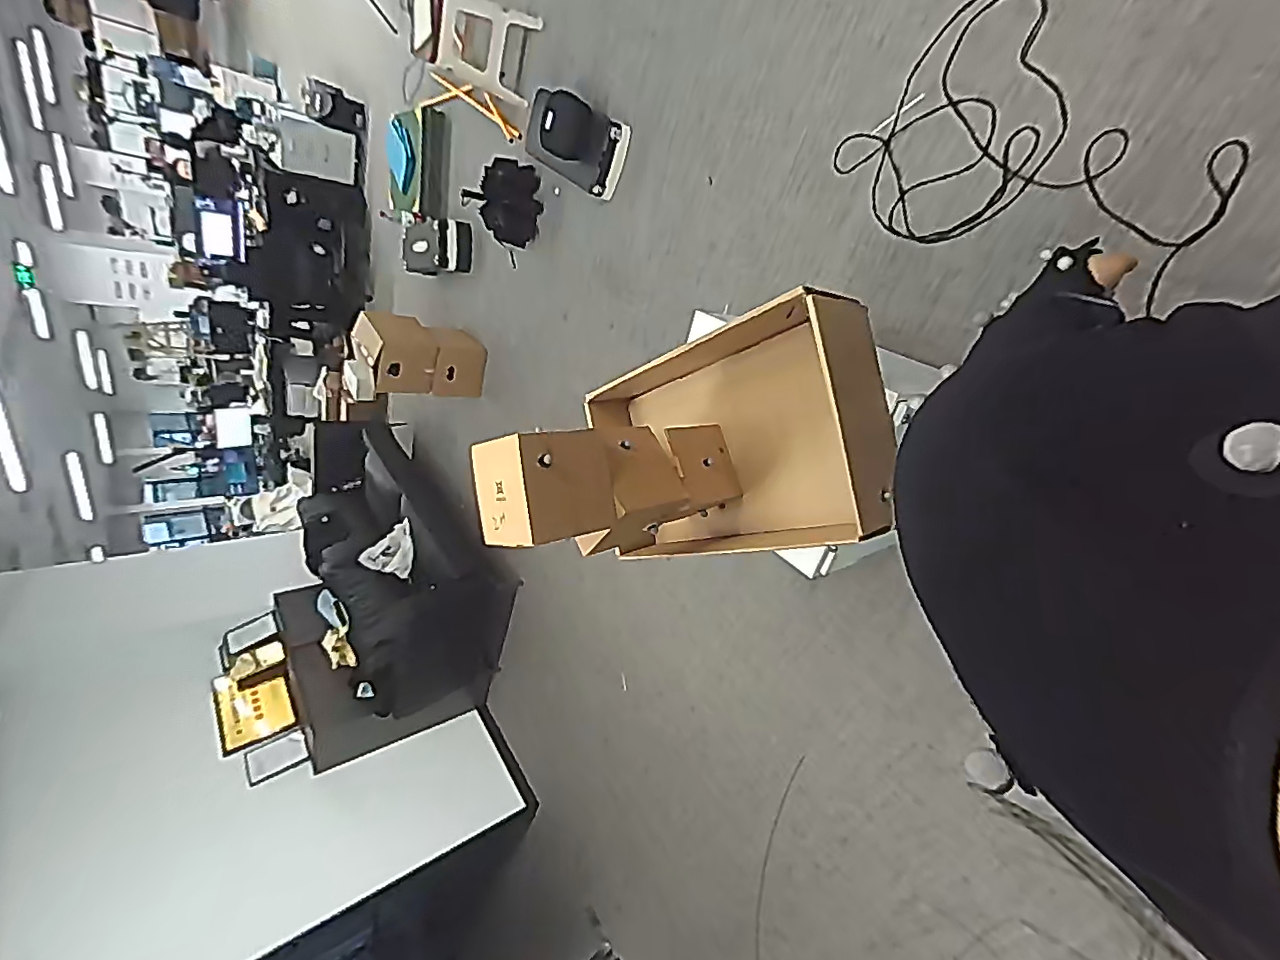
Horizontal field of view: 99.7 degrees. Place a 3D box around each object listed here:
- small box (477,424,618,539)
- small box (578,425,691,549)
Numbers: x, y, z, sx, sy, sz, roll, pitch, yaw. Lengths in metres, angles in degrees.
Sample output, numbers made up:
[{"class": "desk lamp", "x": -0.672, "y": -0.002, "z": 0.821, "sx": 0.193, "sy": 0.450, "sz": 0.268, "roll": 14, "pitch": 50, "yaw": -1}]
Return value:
[{"class": "small box", "x": -0.158, "y": -0.001, "z": 0.935, "sx": 0.168, "sy": 0.176, "sz": 0.179, "roll": -5, "pitch": 93, "yaw": 49}, {"class": "small box", "x": -0.037, "y": 0.007, "z": 1.050, "sx": 0.168, "sy": 0.176, "sz": 0.179, "roll": -49, "pitch": 63, "yaw": 42}]
